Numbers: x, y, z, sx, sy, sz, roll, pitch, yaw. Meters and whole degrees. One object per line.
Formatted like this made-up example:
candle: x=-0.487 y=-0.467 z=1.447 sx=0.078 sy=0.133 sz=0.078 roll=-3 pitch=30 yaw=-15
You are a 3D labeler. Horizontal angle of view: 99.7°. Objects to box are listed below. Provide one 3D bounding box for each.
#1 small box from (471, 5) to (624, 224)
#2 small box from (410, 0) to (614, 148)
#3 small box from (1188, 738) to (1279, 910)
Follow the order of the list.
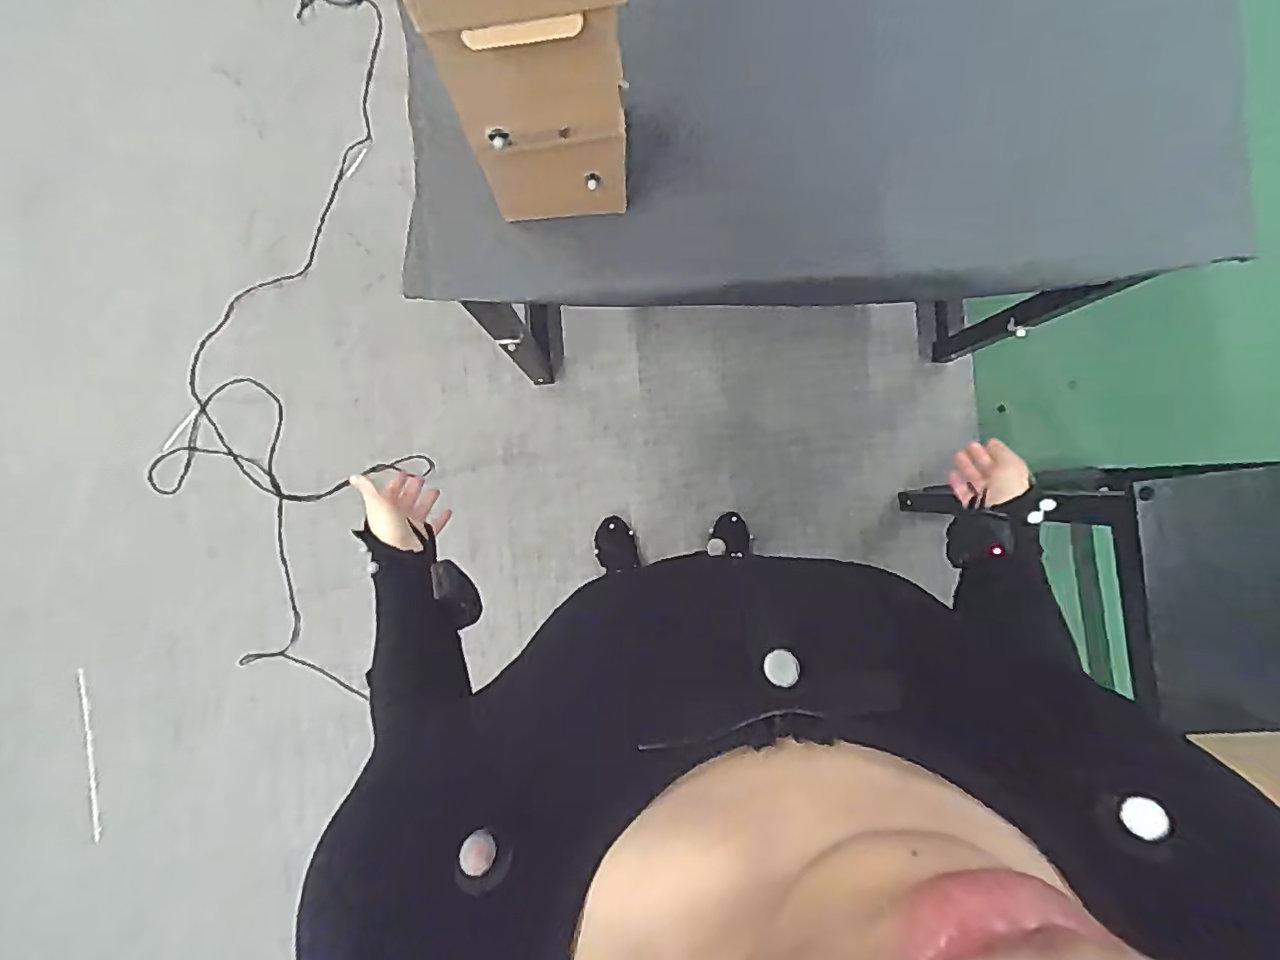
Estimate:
small box: x=-0.113 y=-0.457 z=0.699 sx=0.179 sy=0.176 sz=0.168 roll=-6 pitch=87 yaw=0
small box: x=-0.121 y=-0.462 z=0.534 sx=0.168 sy=0.176 sz=0.179 roll=-10 pitch=86 yaw=-1
small box: x=0.853 y=0.446 z=0.684 sx=0.179 sy=0.176 sz=0.168 roll=-1 pitch=89 yaw=0
